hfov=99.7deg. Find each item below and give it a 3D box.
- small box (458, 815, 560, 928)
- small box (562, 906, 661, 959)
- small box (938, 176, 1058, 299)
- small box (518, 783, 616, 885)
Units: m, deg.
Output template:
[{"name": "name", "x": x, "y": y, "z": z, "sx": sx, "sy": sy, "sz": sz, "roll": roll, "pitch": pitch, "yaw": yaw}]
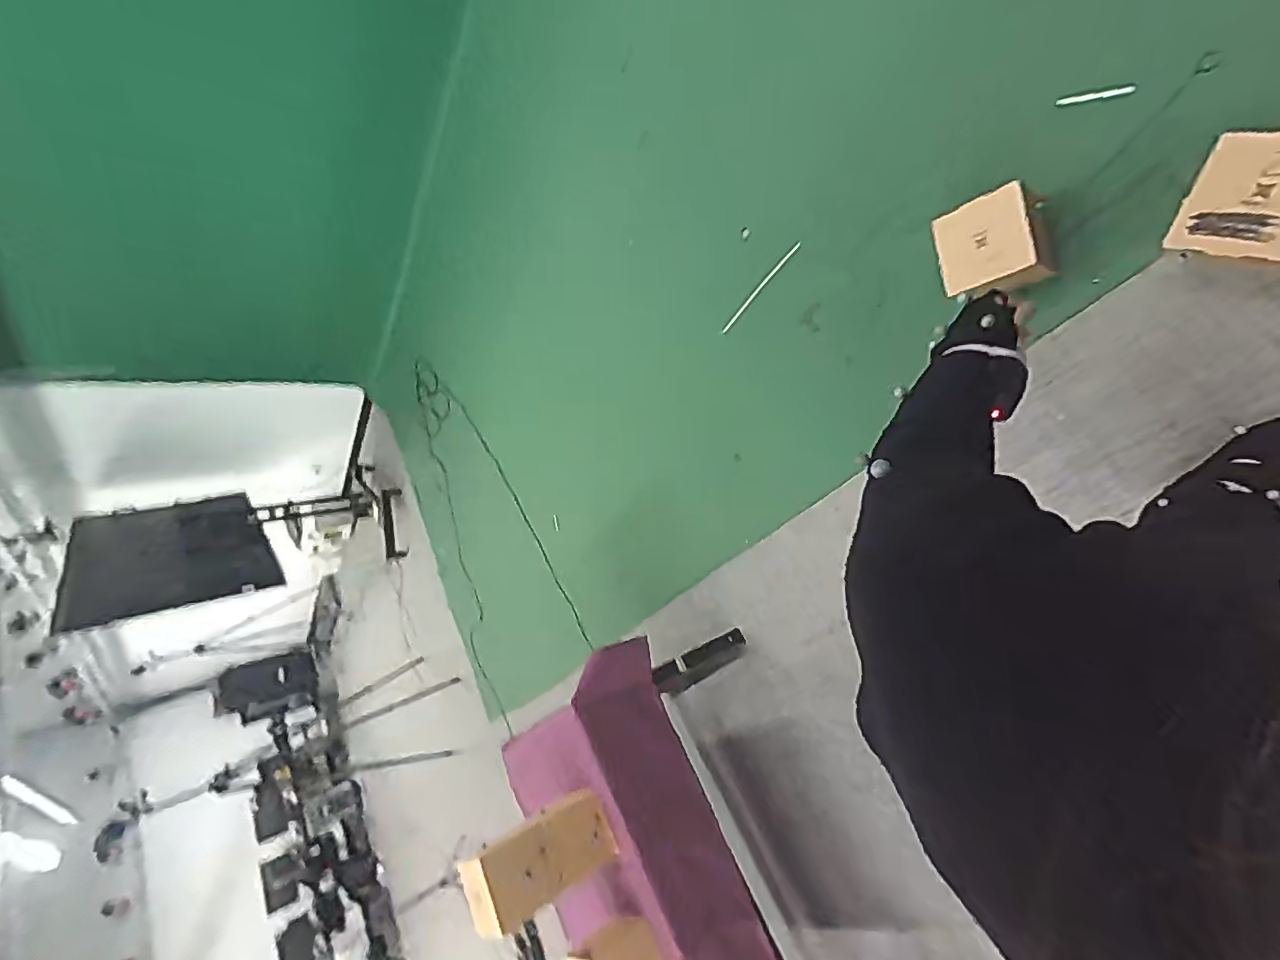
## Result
[{"name": "small box", "x": -0.314, "y": 0.941, "z": 1.310, "sx": 0.179, "sy": 0.176, "sz": 0.168, "roll": -45, "pitch": 63, "yaw": 43}, {"name": "small box", "x": -0.055, "y": 1.179, "z": 1.305, "sx": 0.168, "sy": 0.176, "sz": 0.179, "roll": -45, "pitch": 64, "yaw": 43}, {"name": "small box", "x": 0.776, "y": -0.512, "z": 1.171, "sx": 0.168, "sy": 0.176, "sz": 0.179, "roll": -12, "pitch": 87, "yaw": 49}, {"name": "small box", "x": -0.190, "y": 0.923, "z": 1.418, "sx": 0.179, "sy": 0.176, "sz": 0.168, "roll": -43, "pitch": 65, "yaw": 43}]
